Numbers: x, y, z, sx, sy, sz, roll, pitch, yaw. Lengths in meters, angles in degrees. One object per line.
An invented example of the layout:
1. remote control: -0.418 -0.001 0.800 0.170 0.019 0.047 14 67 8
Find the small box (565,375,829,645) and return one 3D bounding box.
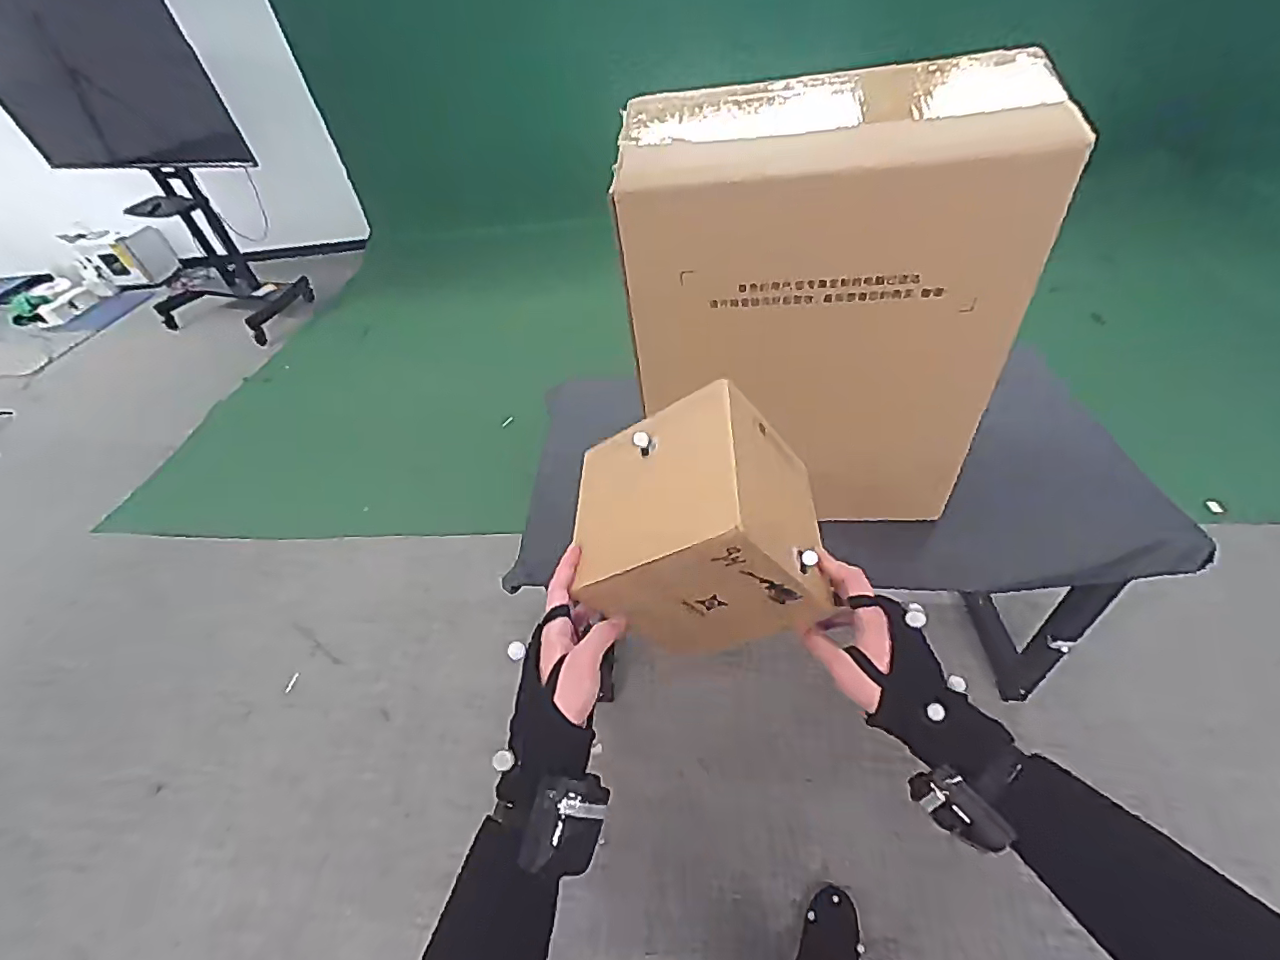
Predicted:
1. small box: 0.056 0.035 0.518 0.179 0.168 0.176 -24 44 31
